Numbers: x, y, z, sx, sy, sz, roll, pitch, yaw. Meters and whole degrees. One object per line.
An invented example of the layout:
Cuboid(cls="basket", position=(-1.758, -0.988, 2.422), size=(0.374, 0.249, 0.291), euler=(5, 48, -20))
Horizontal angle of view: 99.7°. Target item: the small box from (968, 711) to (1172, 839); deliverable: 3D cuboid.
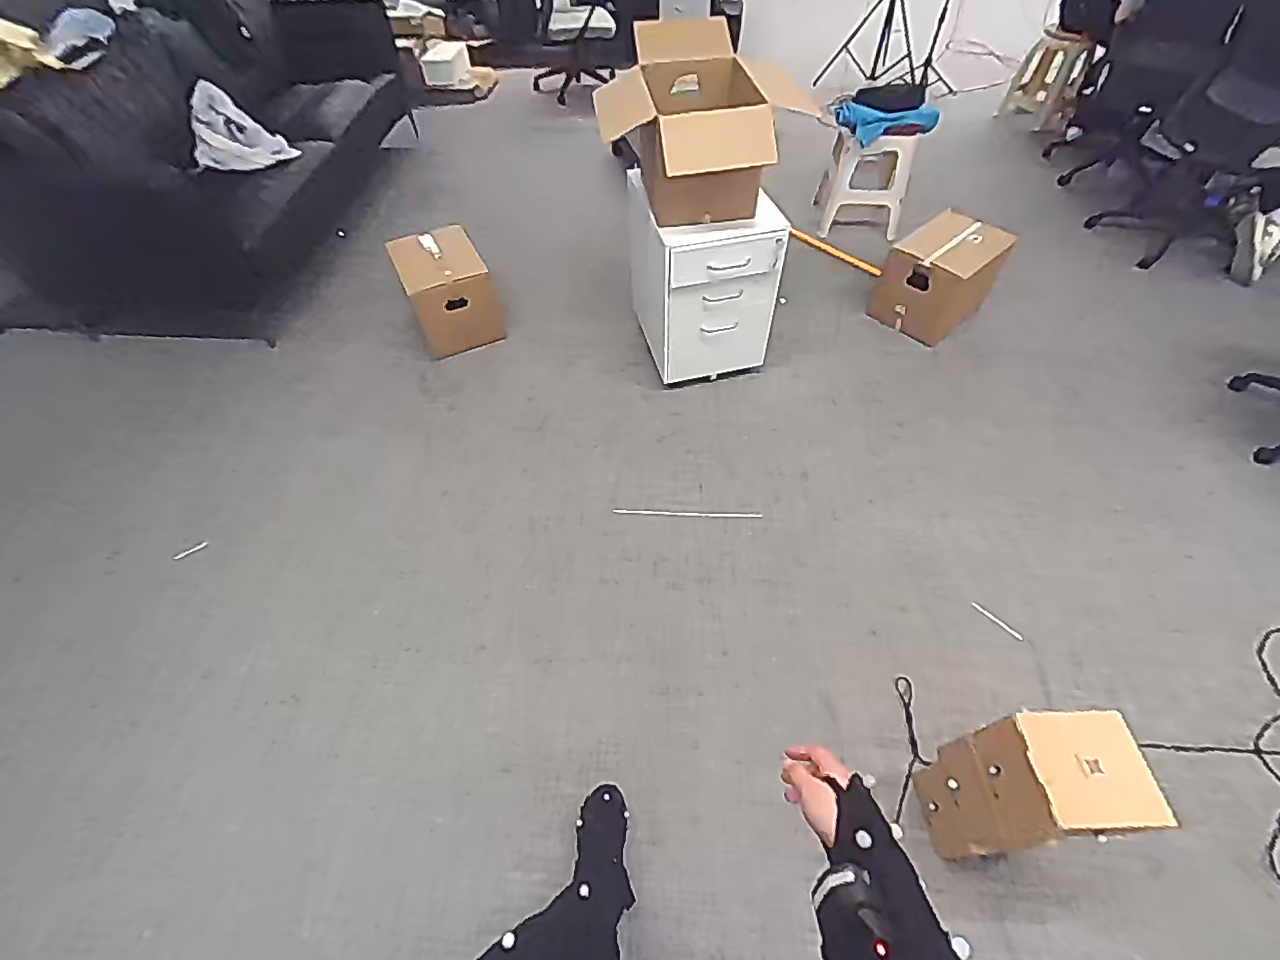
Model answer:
Cuboid(cls="small box", position=(0.697, 0.495, 0.905), size=(0.179, 0.176, 0.168), euler=(-3, 52, 1))

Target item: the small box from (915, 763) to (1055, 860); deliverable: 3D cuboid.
Cuboid(cls="small box", position=(0.717, 0.704, 1.154), size=(0.179, 0.176, 0.168), euler=(-4, 53, -1))

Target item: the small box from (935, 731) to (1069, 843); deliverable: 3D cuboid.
Cuboid(cls="small box", position=(0.708, 0.590, 1.036), size=(0.179, 0.176, 0.168), euler=(-2, 52, 2))
